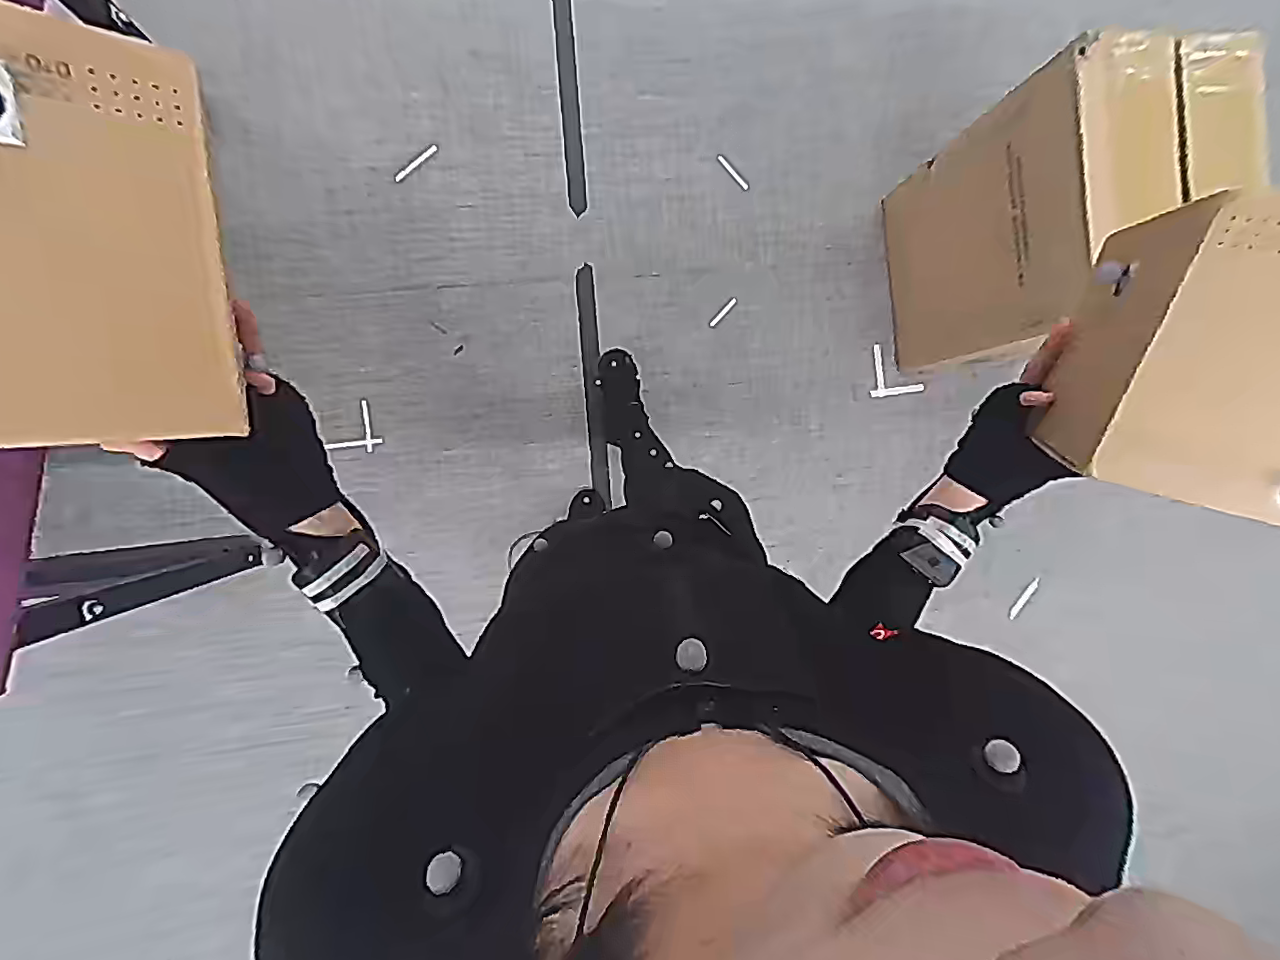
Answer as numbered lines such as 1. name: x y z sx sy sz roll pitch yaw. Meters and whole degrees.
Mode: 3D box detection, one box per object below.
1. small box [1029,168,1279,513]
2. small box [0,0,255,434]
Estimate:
1. small box: 0.397 -0.085 0.353 0.168 0.179 0.176 18 112 20
2. small box: -0.301 -0.109 0.267 0.168 0.179 0.176 -9 99 -33
